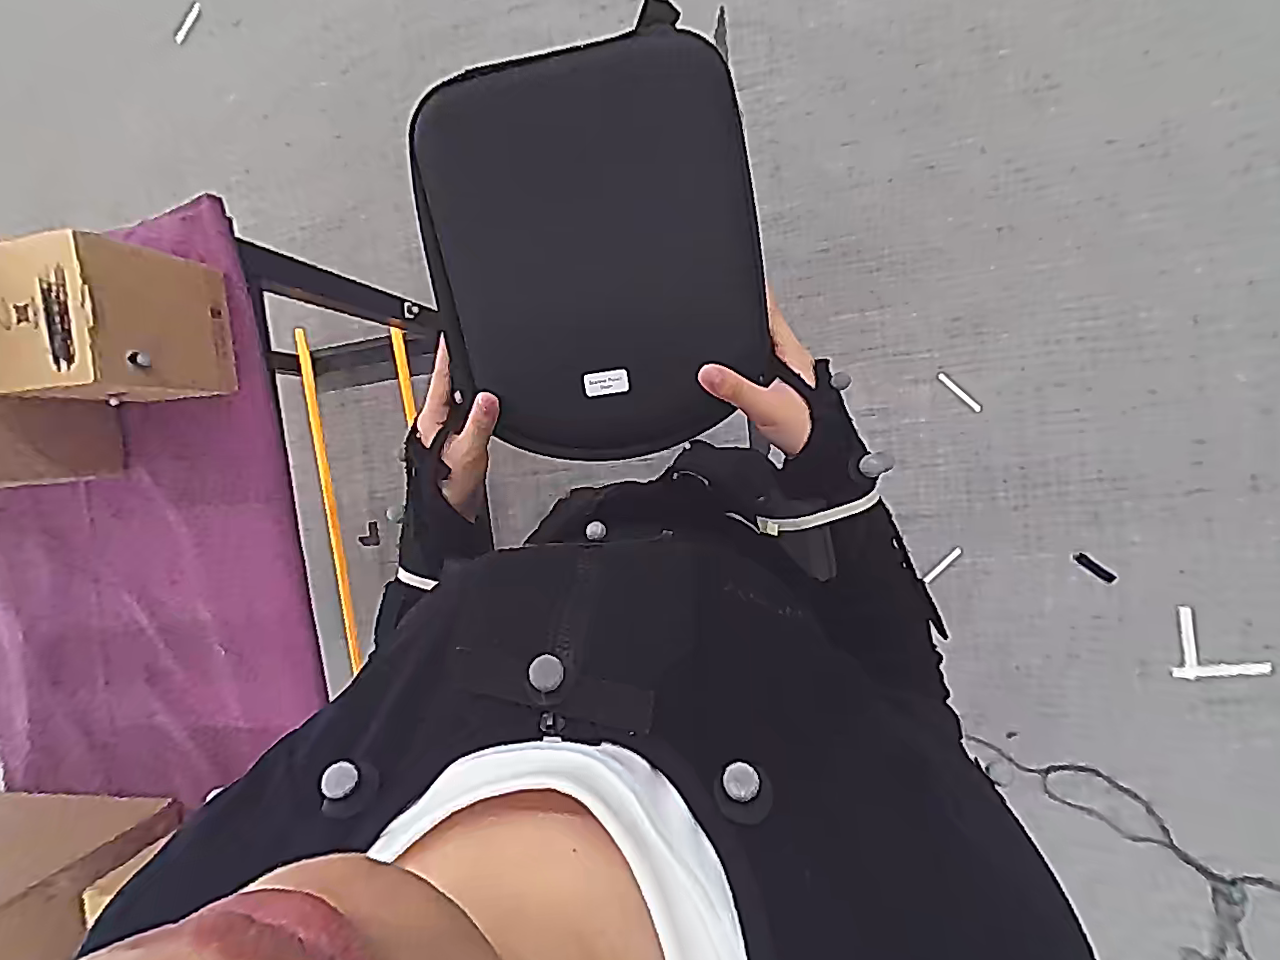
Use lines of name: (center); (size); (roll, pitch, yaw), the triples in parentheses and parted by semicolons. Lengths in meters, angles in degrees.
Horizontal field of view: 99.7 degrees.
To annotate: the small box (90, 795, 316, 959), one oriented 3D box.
small box: (-0.578, 0.568, 0.737); (0.168, 0.176, 0.179); (-7, 93, 14)
